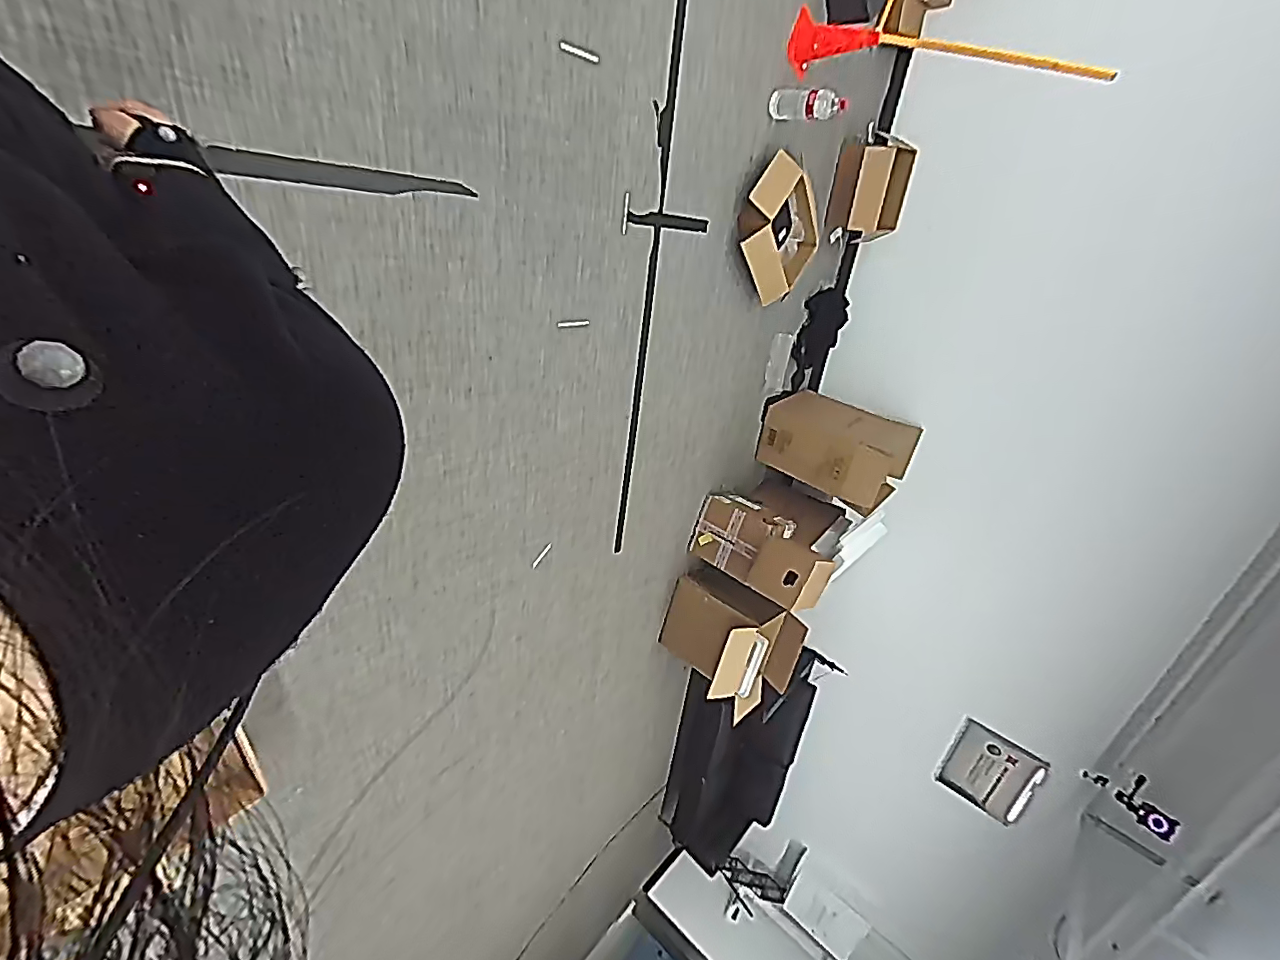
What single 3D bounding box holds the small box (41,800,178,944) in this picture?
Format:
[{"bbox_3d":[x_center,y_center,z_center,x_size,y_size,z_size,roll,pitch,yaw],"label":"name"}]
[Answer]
[{"bbox_3d":[-1.195,0.875,1.223,0.168,0.176,0.179,-27,133,-43],"label":"small box"}]
